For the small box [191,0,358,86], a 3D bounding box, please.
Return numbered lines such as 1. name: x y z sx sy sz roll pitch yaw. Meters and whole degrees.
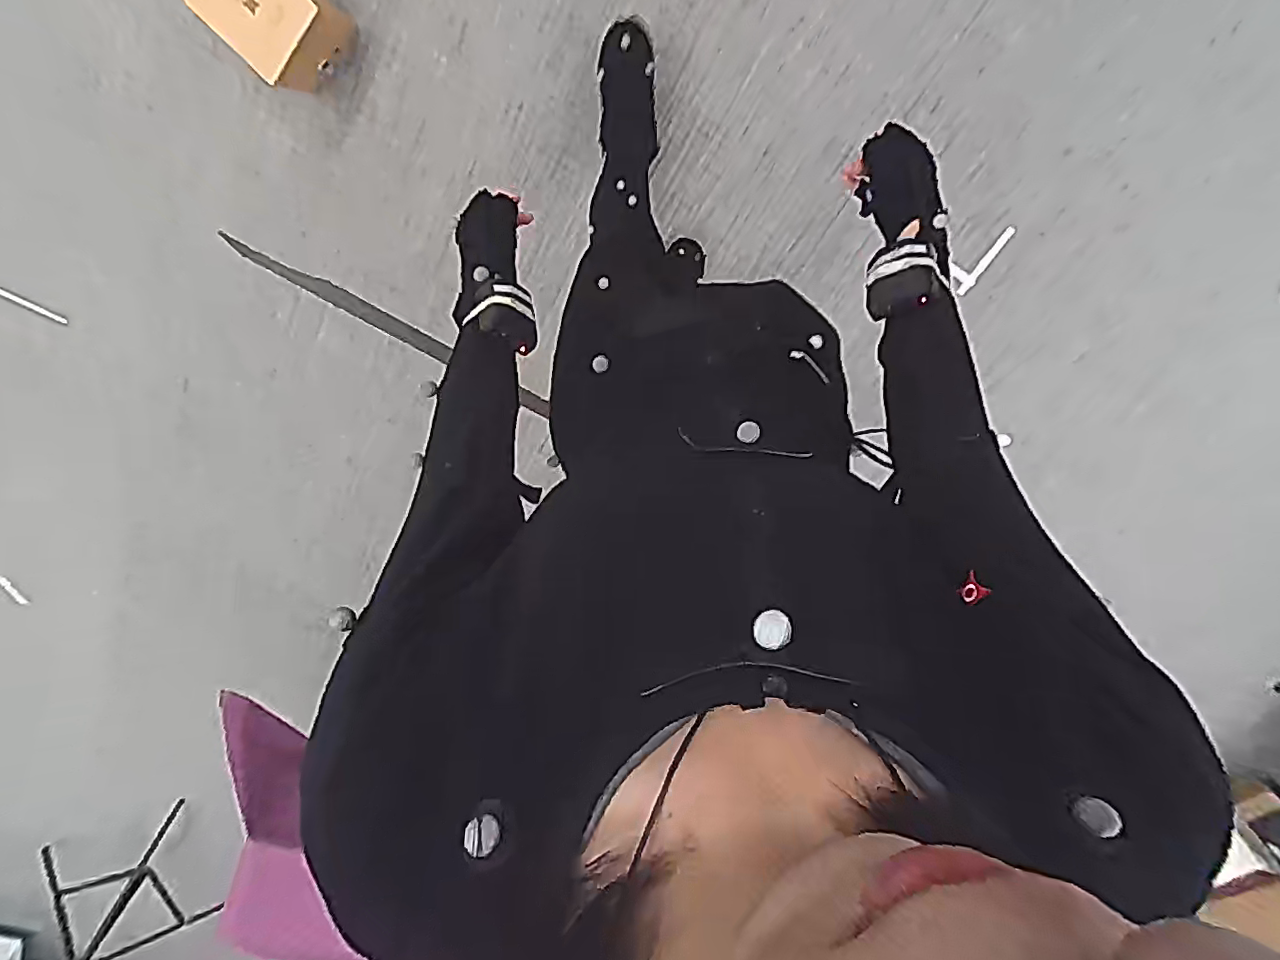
1. small box: -0.672 -0.874 1.004 0.168 0.176 0.179 -39 115 20
